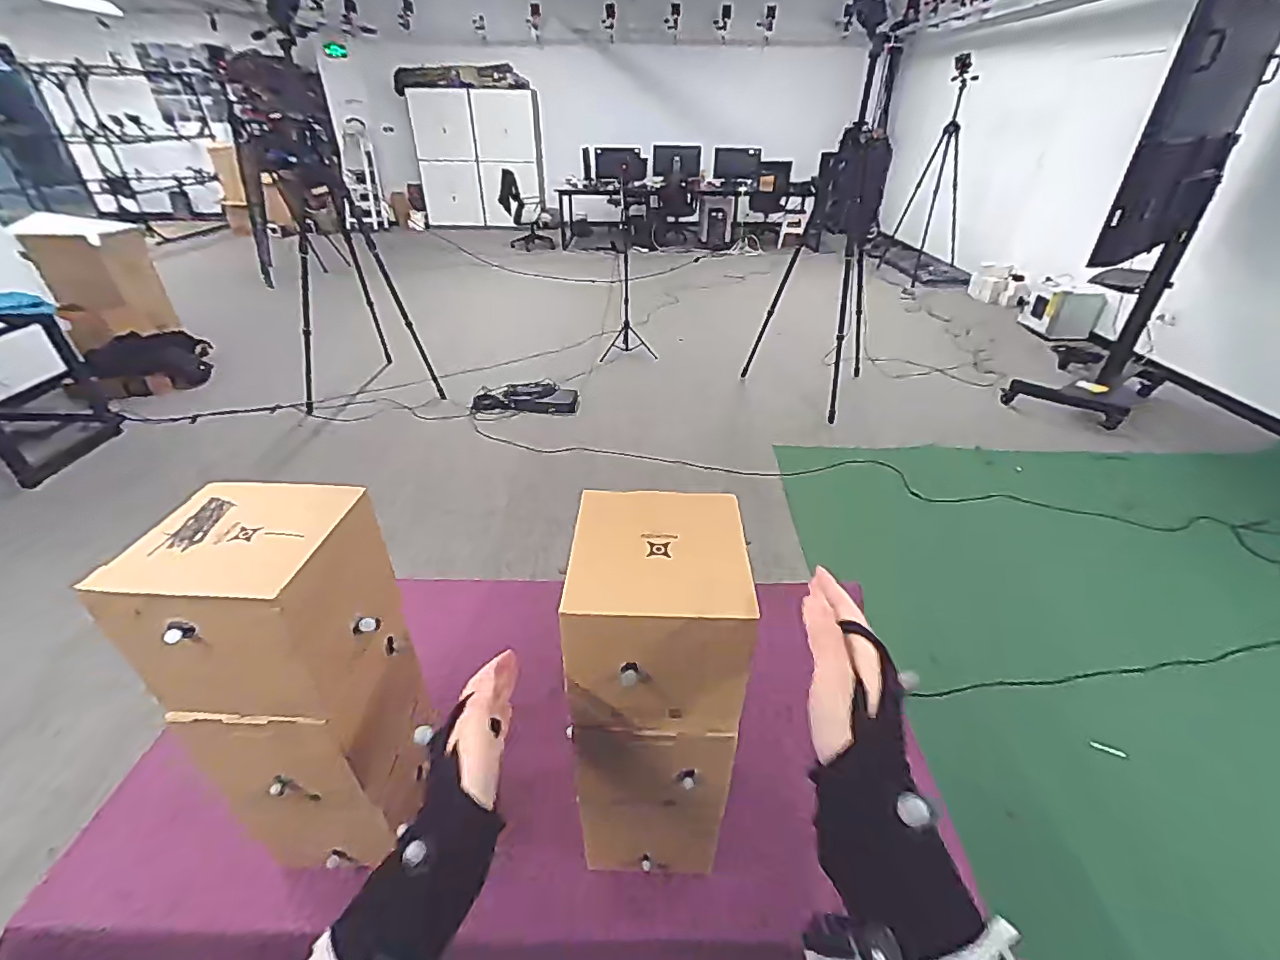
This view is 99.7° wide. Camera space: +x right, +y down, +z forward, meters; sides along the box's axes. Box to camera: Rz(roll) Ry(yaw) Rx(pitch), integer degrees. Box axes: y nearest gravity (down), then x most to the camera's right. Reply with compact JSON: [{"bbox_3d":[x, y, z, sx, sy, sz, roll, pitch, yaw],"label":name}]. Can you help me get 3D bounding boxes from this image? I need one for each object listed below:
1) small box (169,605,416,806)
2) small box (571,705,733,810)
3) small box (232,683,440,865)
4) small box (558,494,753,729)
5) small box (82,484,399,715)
[{"bbox_3d":[-0.388,0.257,0.649,0.168,0.176,0.179,1,34,1],"label":"small box"},{"bbox_3d":[0.014,0.267,0.645,0.168,0.176,0.179,1,34,0],"label":"small box"},{"bbox_3d":[-0.390,0.397,0.737,0.179,0.176,0.168,1,34,-1],"label":"small box"},{"bbox_3d":[0.015,0.132,0.555,0.168,0.176,0.179,2,34,0],"label":"small box"},{"bbox_3d":[-0.381,0.120,0.558,0.179,0.176,0.168,3,34,1],"label":"small box"}]
